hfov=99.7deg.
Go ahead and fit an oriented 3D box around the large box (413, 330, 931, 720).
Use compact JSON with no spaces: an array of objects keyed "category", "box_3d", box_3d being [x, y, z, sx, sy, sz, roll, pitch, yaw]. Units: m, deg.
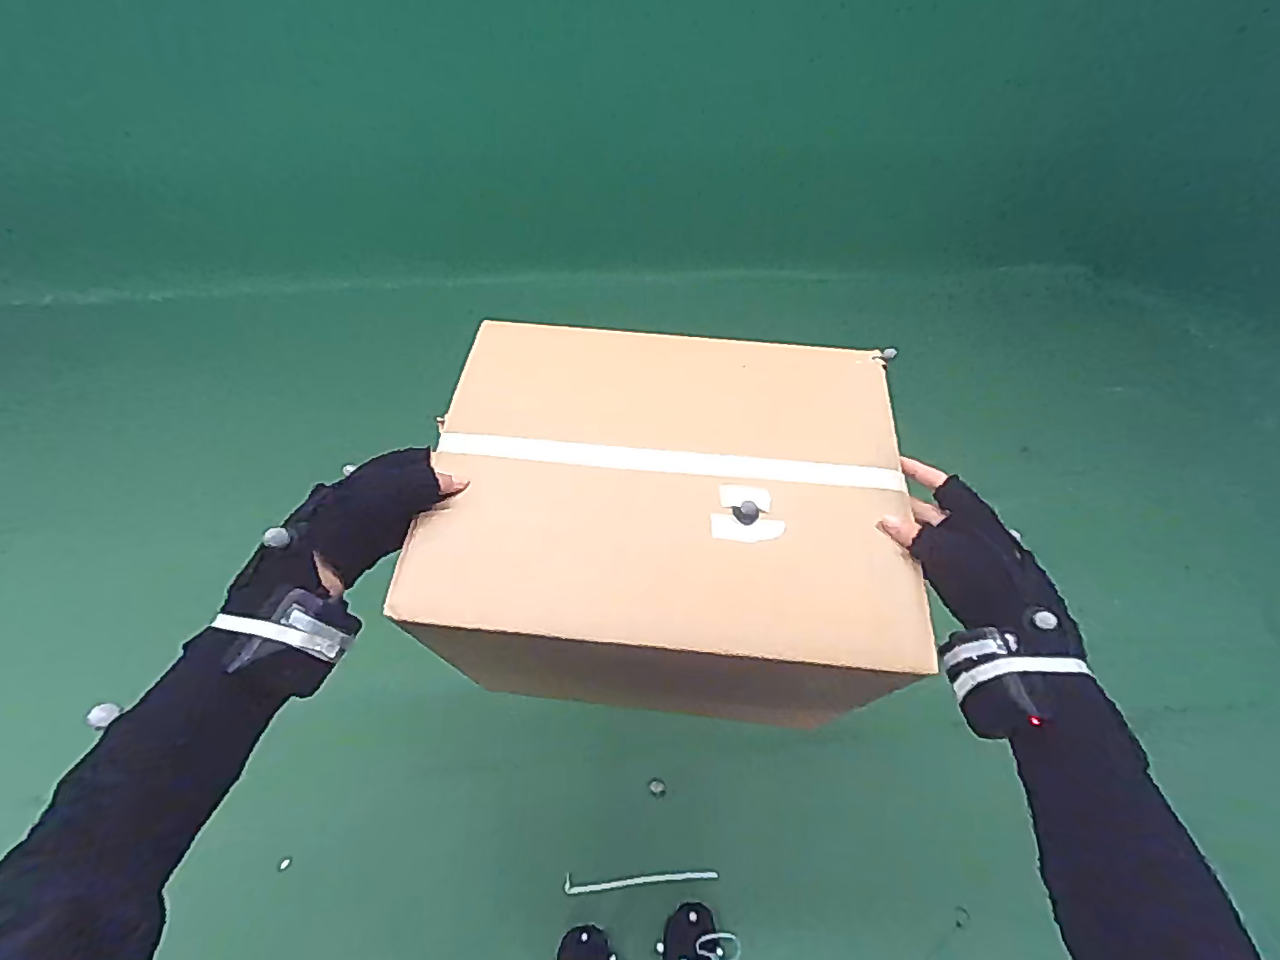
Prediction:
[{"category":"large box","box_3d":[0.030,0.066,0.610,0.408,0.320,0.320,6,59,2]}]
